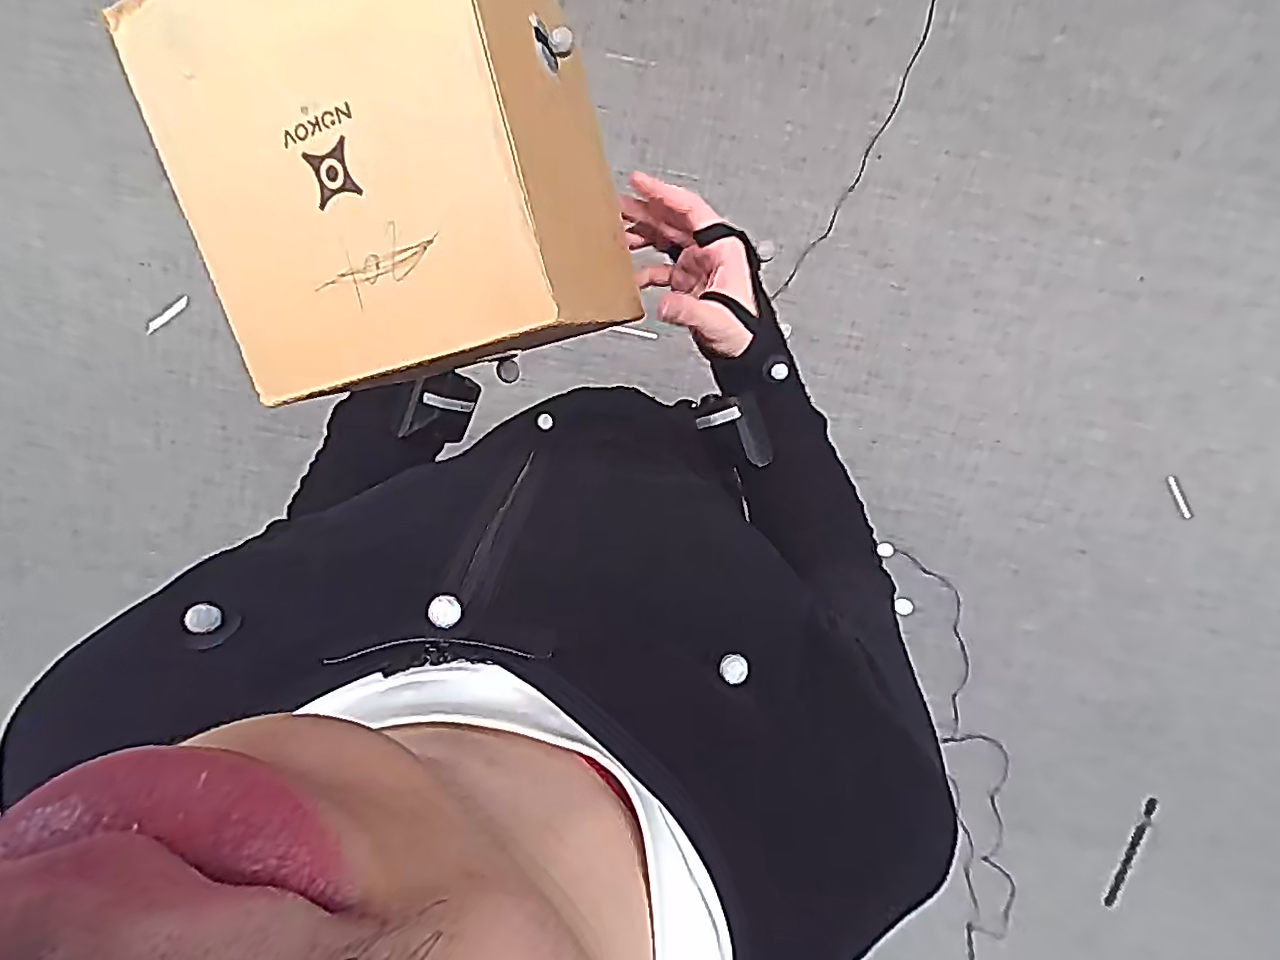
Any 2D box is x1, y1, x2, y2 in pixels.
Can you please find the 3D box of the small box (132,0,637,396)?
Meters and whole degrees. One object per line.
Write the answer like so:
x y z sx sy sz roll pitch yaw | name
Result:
-0.113 -0.160 0.314 0.168 0.176 0.179 -11 105 16 | small box
